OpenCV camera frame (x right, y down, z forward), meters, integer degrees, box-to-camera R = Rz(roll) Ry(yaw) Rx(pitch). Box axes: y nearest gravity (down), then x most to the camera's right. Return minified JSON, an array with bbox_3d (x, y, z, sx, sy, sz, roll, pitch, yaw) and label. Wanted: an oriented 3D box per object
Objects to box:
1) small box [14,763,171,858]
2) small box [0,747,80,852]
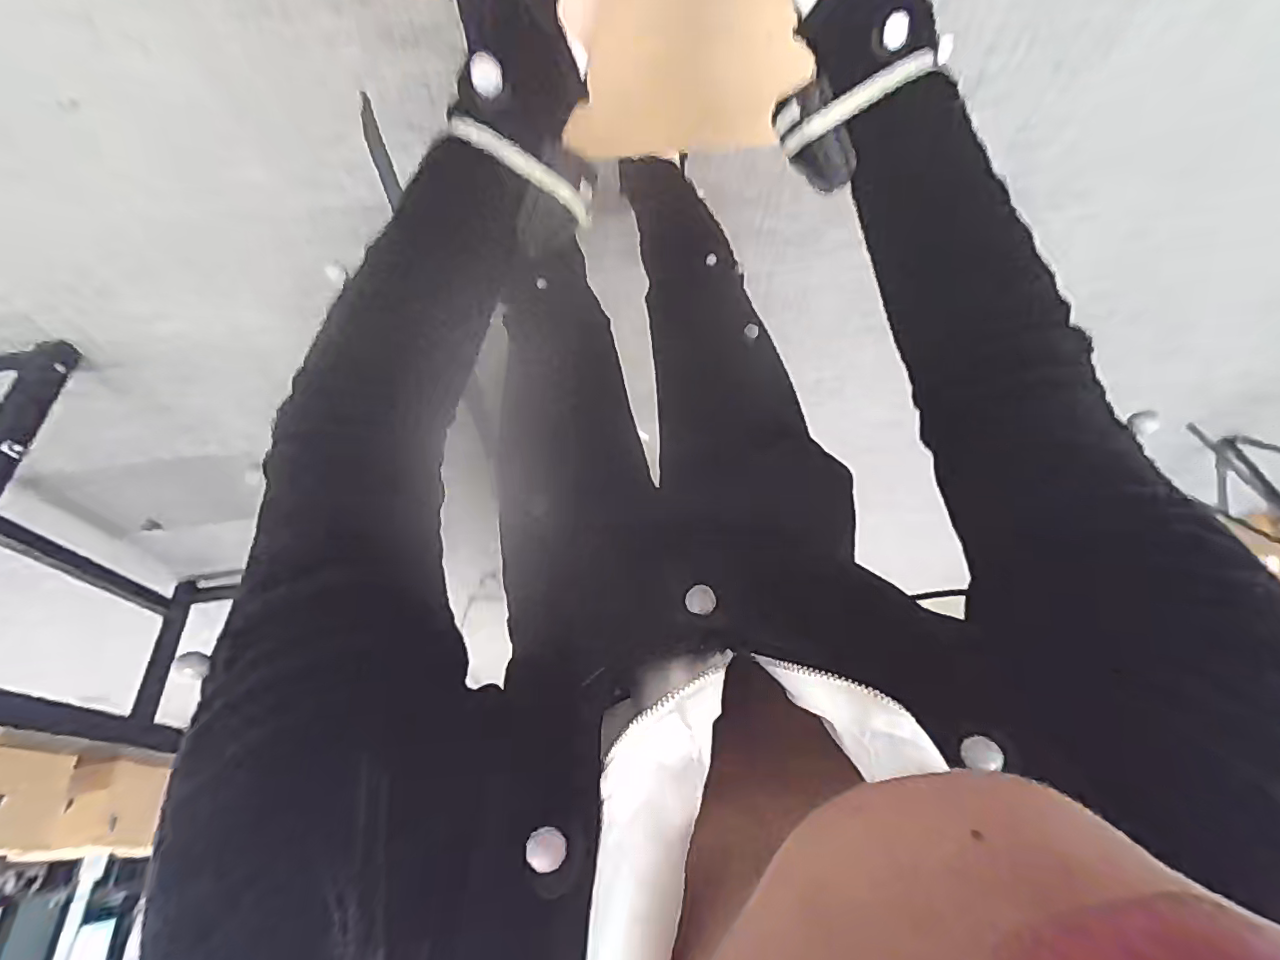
[{"bbox_3d":[-1.267,0.771,1.269,0.168,0.176,0.179,-6,147,-4],"label":"small box"},{"bbox_3d":[-1.266,0.619,1.041,0.168,0.176,0.179,-5,148,-3],"label":"small box"}]
